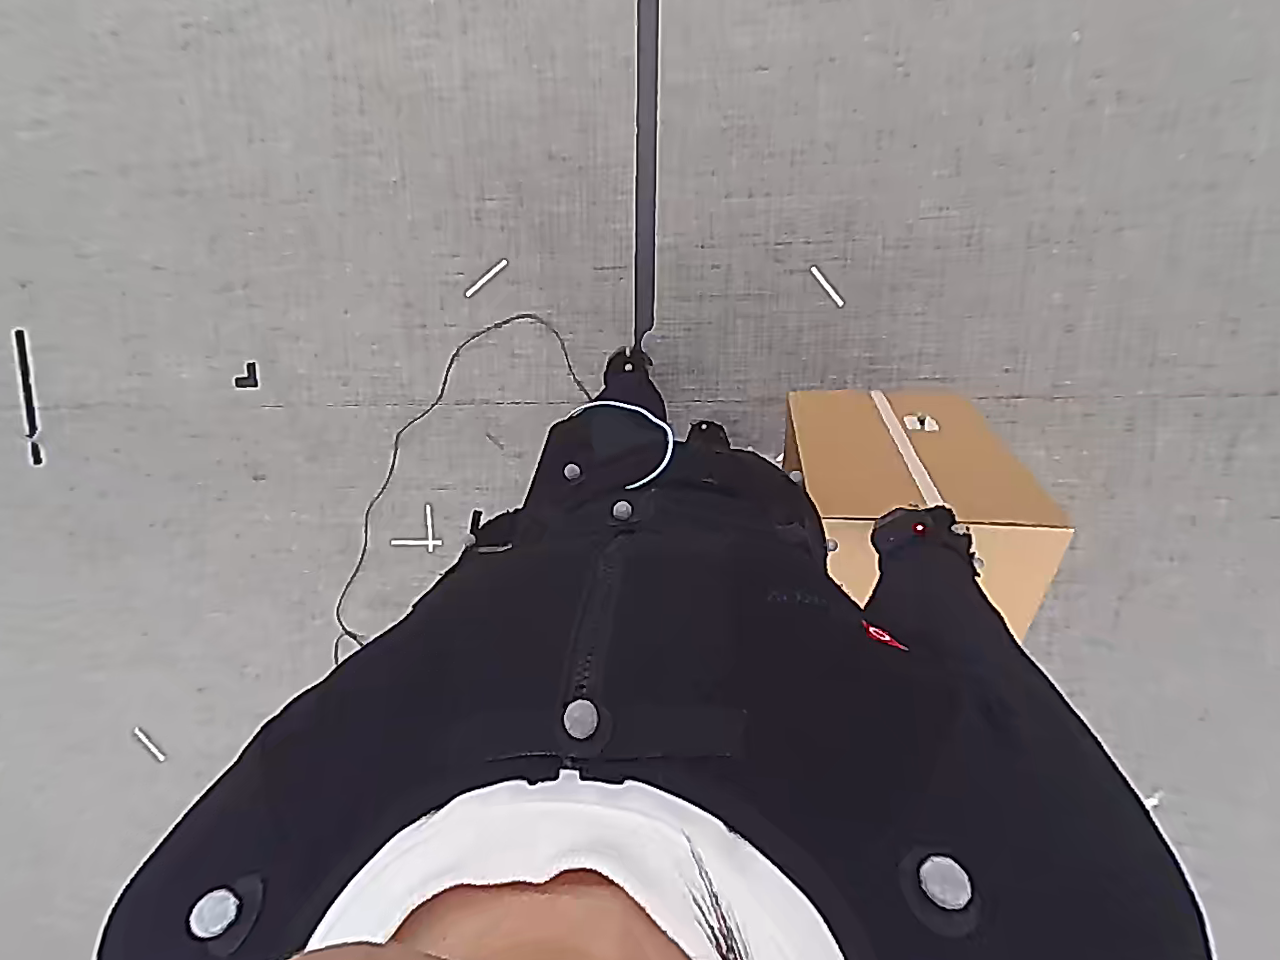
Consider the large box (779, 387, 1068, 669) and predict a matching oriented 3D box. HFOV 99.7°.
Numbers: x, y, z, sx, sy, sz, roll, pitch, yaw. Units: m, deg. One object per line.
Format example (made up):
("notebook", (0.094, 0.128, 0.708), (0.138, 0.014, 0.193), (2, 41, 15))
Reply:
("large box", (0.421, 0.064, 0.936), (0.320, 0.408, 0.320), (2, 123, 8))
